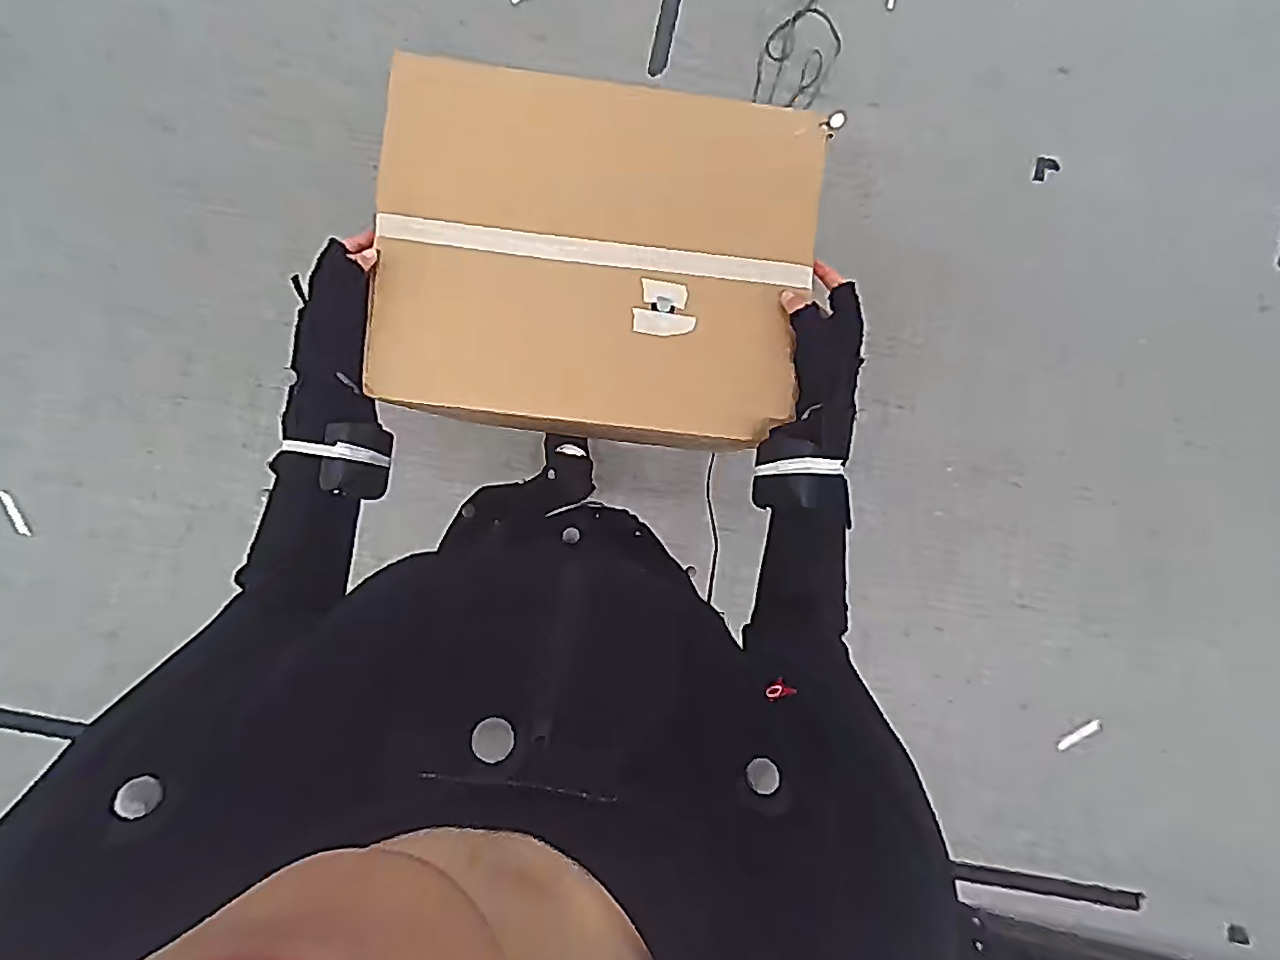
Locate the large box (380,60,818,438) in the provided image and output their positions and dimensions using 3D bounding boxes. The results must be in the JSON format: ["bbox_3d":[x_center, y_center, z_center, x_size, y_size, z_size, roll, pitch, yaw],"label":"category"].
[{"bbox_3d":[-0.046,-0.229,0.667,0.408,0.320,0.320,6,93,-3],"label":"large box"}]
